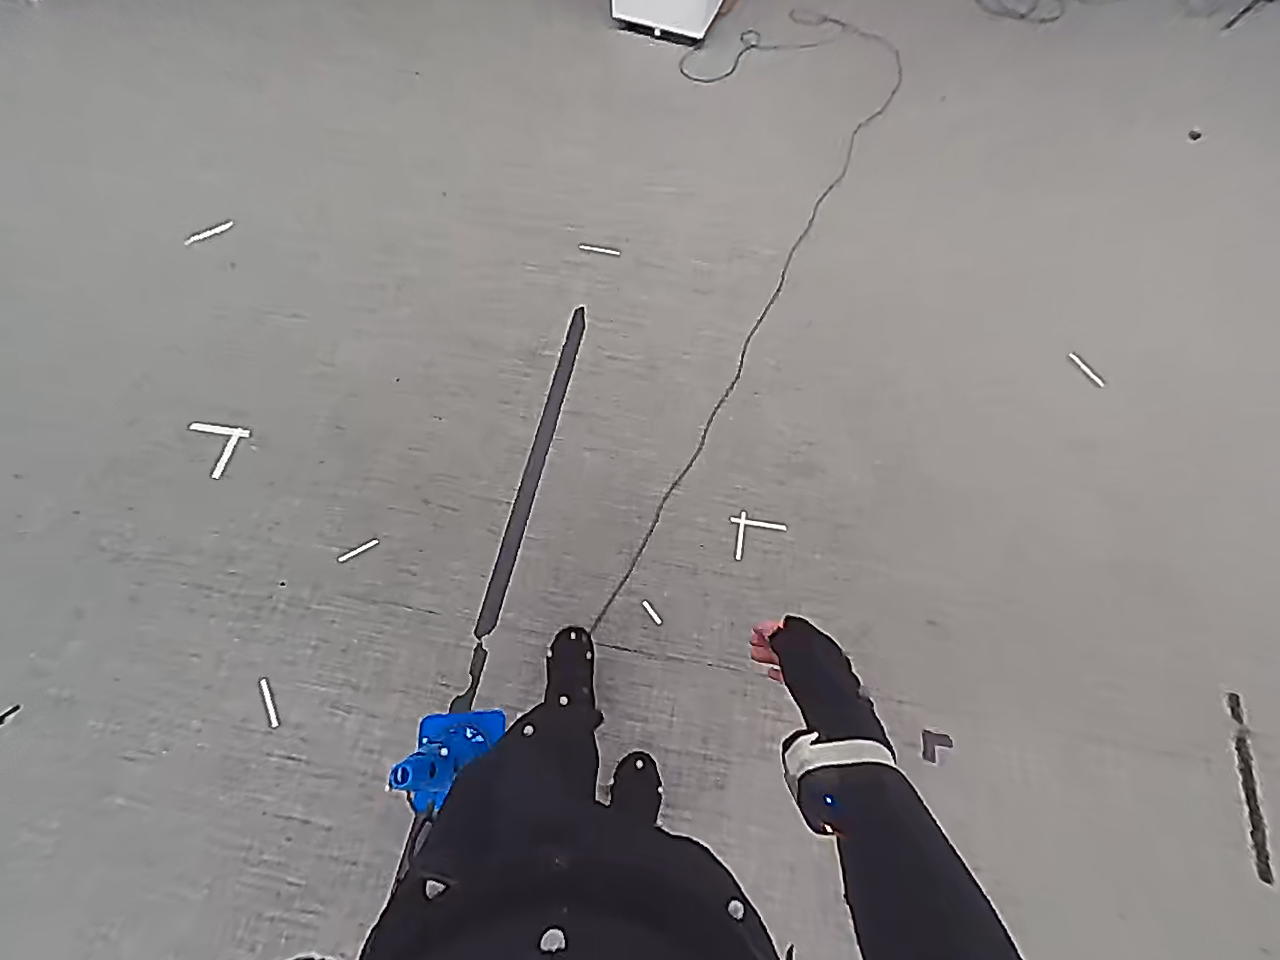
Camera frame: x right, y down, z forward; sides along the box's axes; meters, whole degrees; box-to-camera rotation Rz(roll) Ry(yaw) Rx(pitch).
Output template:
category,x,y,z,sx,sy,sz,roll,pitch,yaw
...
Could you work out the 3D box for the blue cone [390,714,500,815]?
category,x,y,z,sx,sy,sz,roll,pitch,yaw
blue cone,-0.405,0.570,1.065,0.193,0.380,0.192,-4,67,-4
